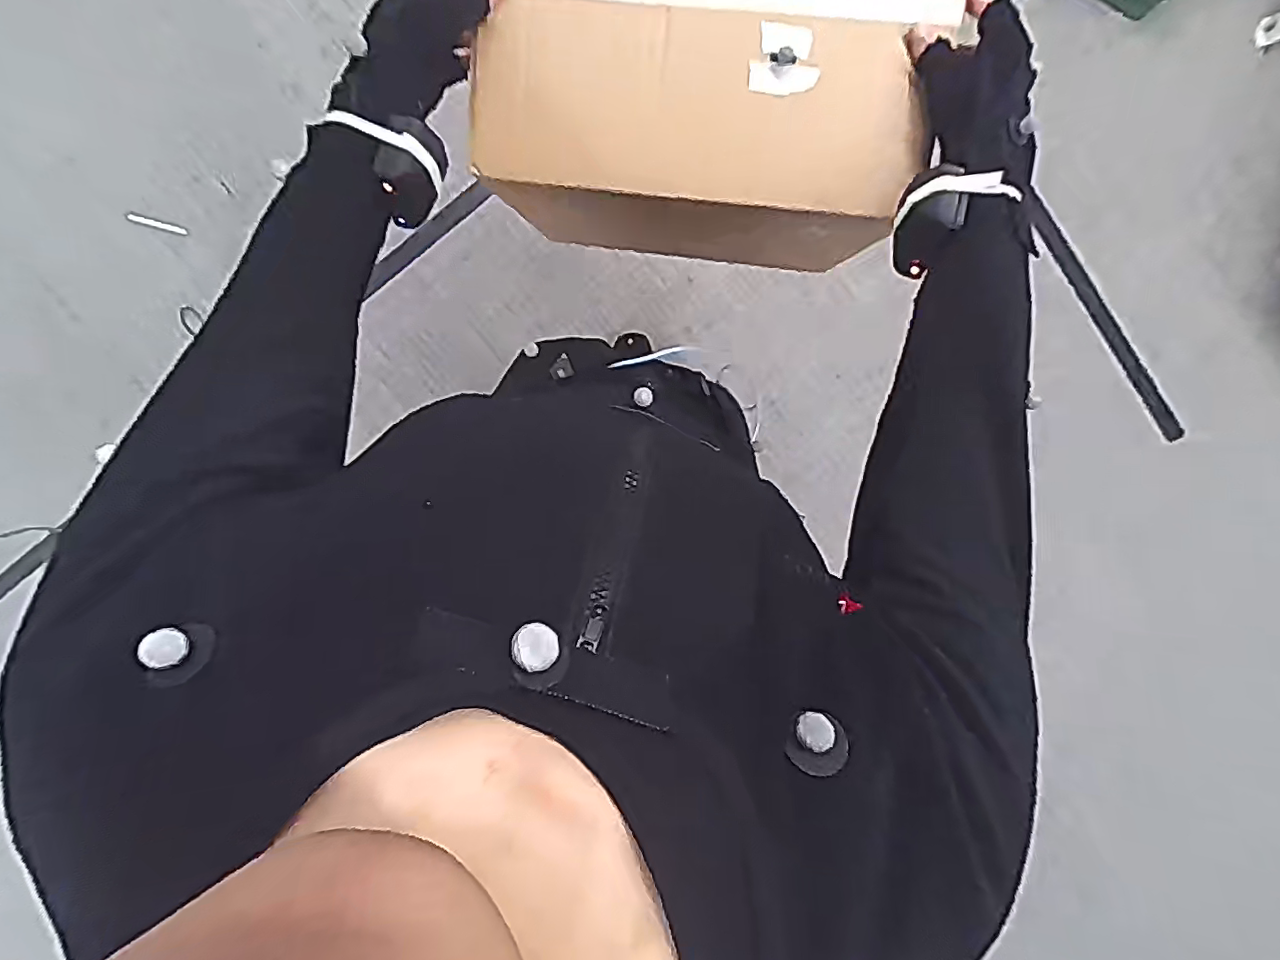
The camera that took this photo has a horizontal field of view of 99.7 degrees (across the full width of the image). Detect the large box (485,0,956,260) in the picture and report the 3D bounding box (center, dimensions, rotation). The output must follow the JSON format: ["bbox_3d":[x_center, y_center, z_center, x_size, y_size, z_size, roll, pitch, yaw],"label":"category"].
[{"bbox_3d":[0.074,-0.447,0.604,0.408,0.320,0.320,7,105,2],"label":"large box"}]
